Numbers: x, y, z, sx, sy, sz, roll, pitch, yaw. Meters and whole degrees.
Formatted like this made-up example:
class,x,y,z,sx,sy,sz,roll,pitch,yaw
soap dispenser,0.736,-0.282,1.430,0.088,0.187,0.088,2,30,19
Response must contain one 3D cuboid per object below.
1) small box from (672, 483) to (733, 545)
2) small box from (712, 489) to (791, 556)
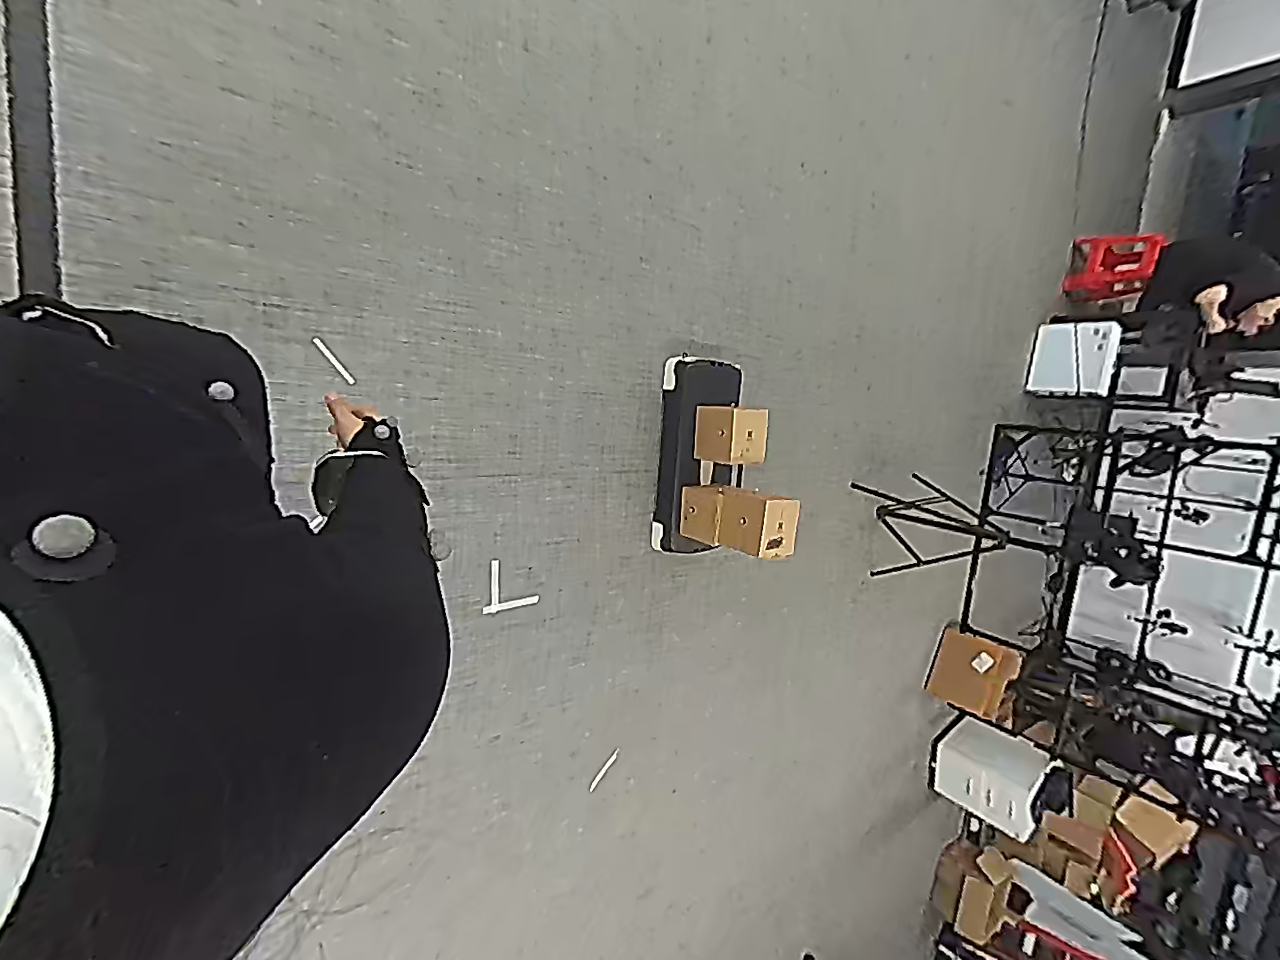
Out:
class,x,y,z,sx,sy,sz,roll,pitch,yaw
small box,0.230,0.108,1.808,0.179,0.176,0.168,-5,102,-38
small box,0.343,0.130,1.690,0.168,0.176,0.179,2,97,-39
